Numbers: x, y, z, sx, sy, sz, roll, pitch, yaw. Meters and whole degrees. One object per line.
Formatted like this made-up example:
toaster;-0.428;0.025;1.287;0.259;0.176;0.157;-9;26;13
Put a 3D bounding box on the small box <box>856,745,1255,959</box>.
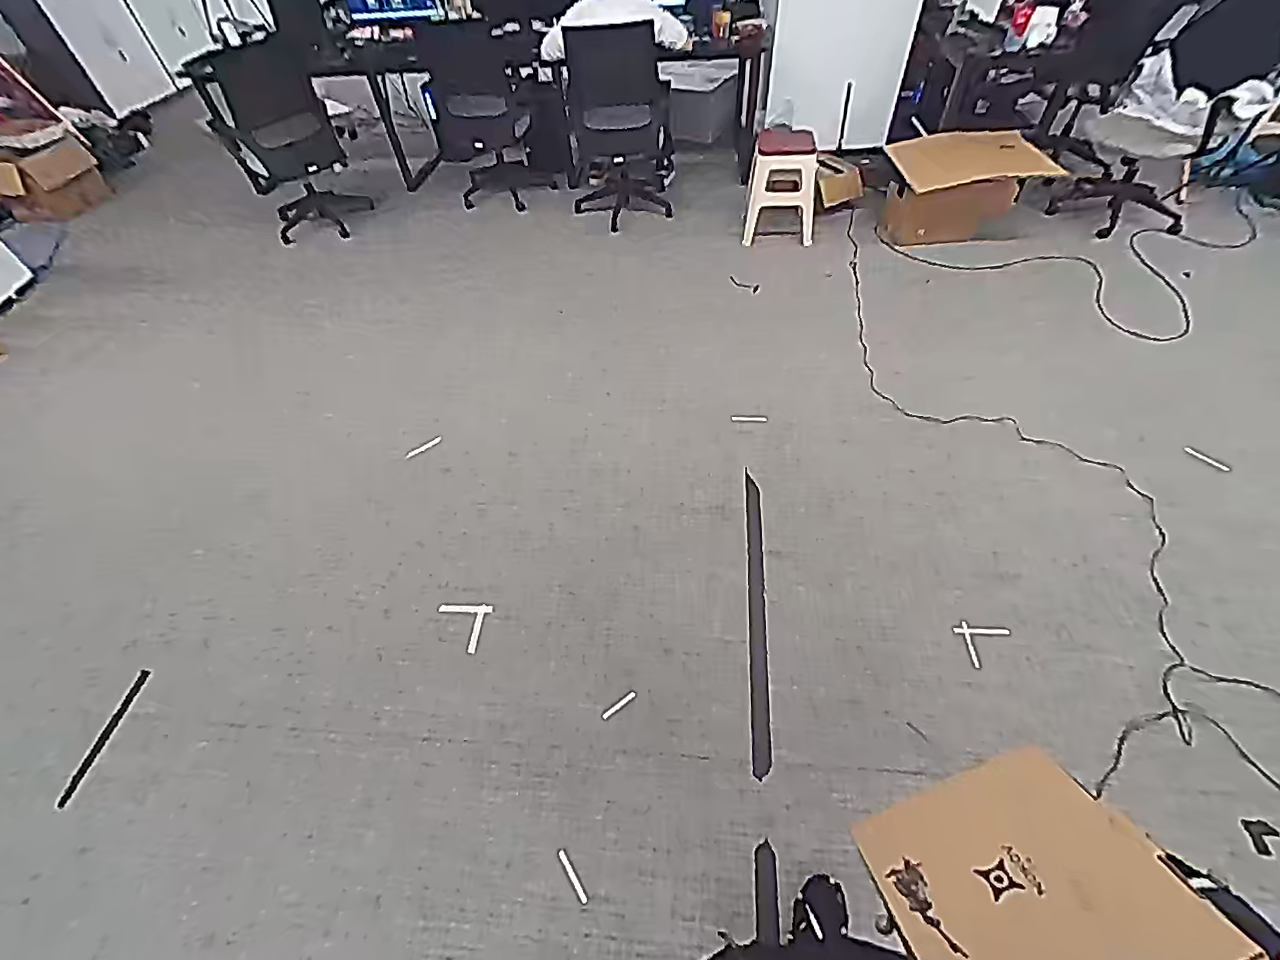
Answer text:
small box;0.303;0.354;0.412;0.179;0.176;0.168;-25;14;2
